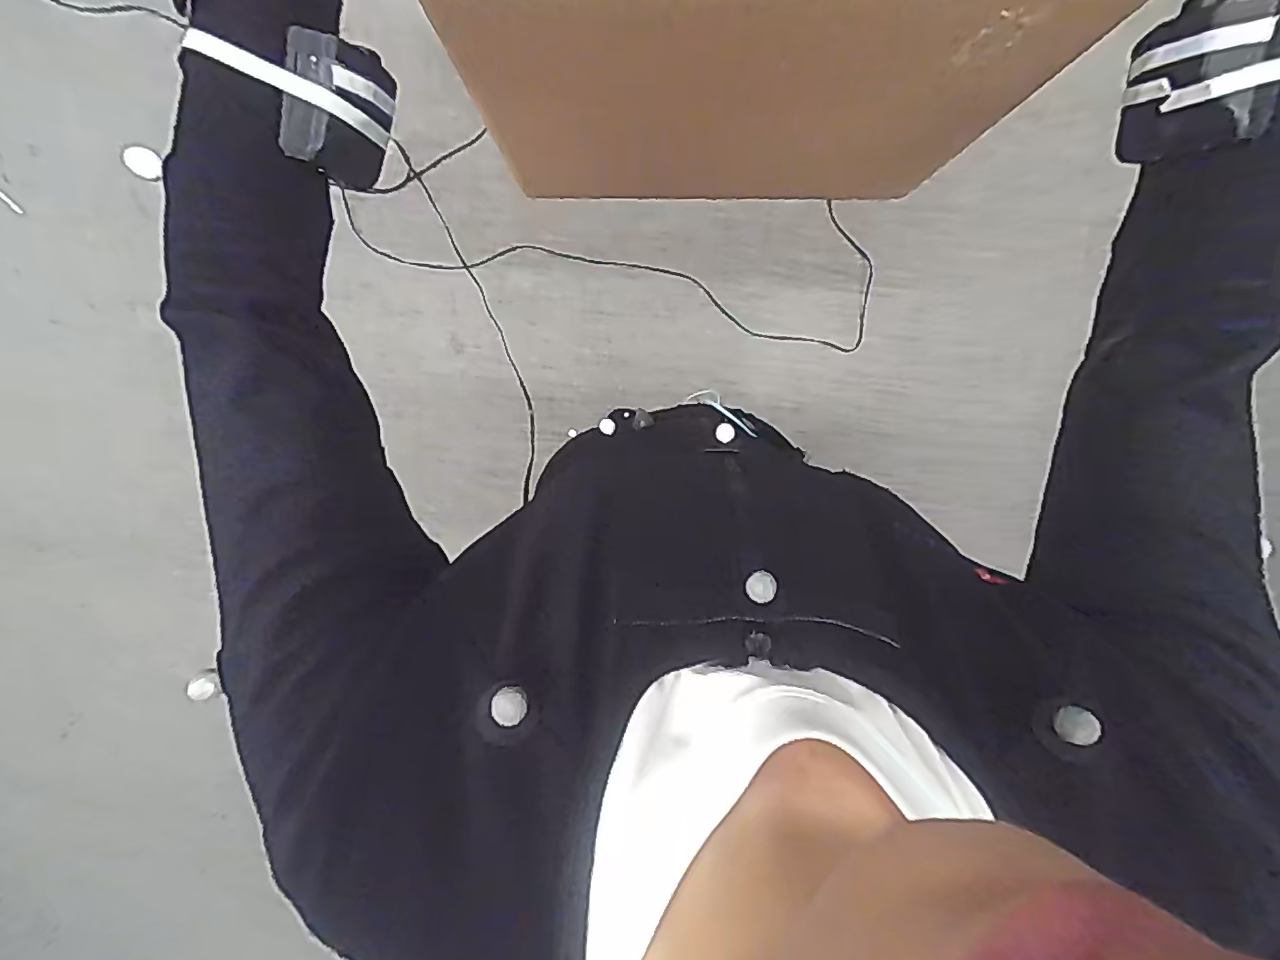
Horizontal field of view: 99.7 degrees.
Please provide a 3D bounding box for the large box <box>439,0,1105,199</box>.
[{"bbox_3d":[0.074,-0.436,0.410,0.408,0.320,0.320,-1,97,-1],"label":"large box"}]
